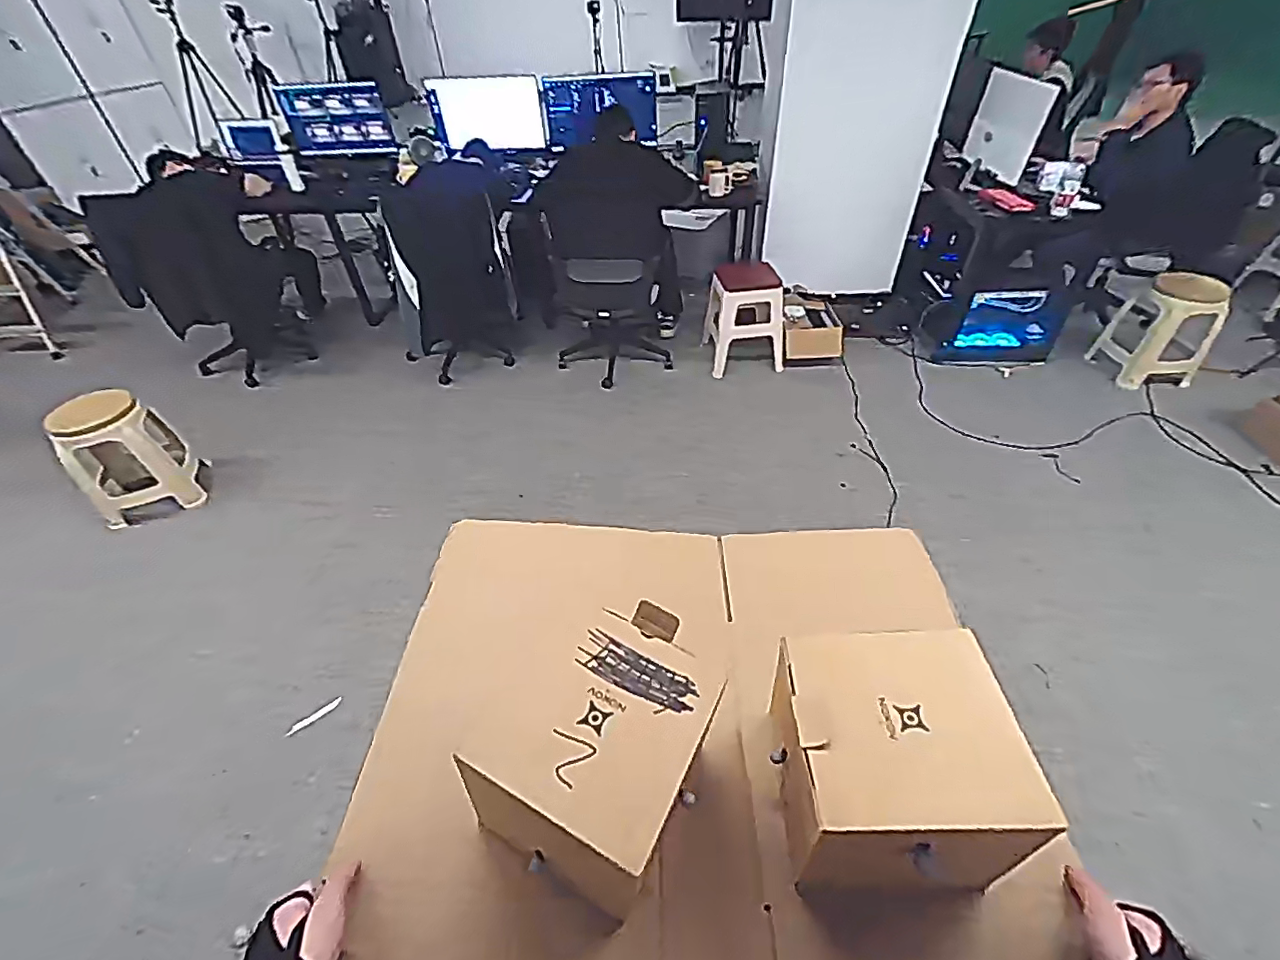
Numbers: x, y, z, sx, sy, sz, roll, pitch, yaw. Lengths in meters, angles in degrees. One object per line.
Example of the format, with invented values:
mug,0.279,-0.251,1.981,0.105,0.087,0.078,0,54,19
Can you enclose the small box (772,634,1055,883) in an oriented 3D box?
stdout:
small box,0.231,0.265,0.516,0.179,0.176,0.168,-4,42,4
